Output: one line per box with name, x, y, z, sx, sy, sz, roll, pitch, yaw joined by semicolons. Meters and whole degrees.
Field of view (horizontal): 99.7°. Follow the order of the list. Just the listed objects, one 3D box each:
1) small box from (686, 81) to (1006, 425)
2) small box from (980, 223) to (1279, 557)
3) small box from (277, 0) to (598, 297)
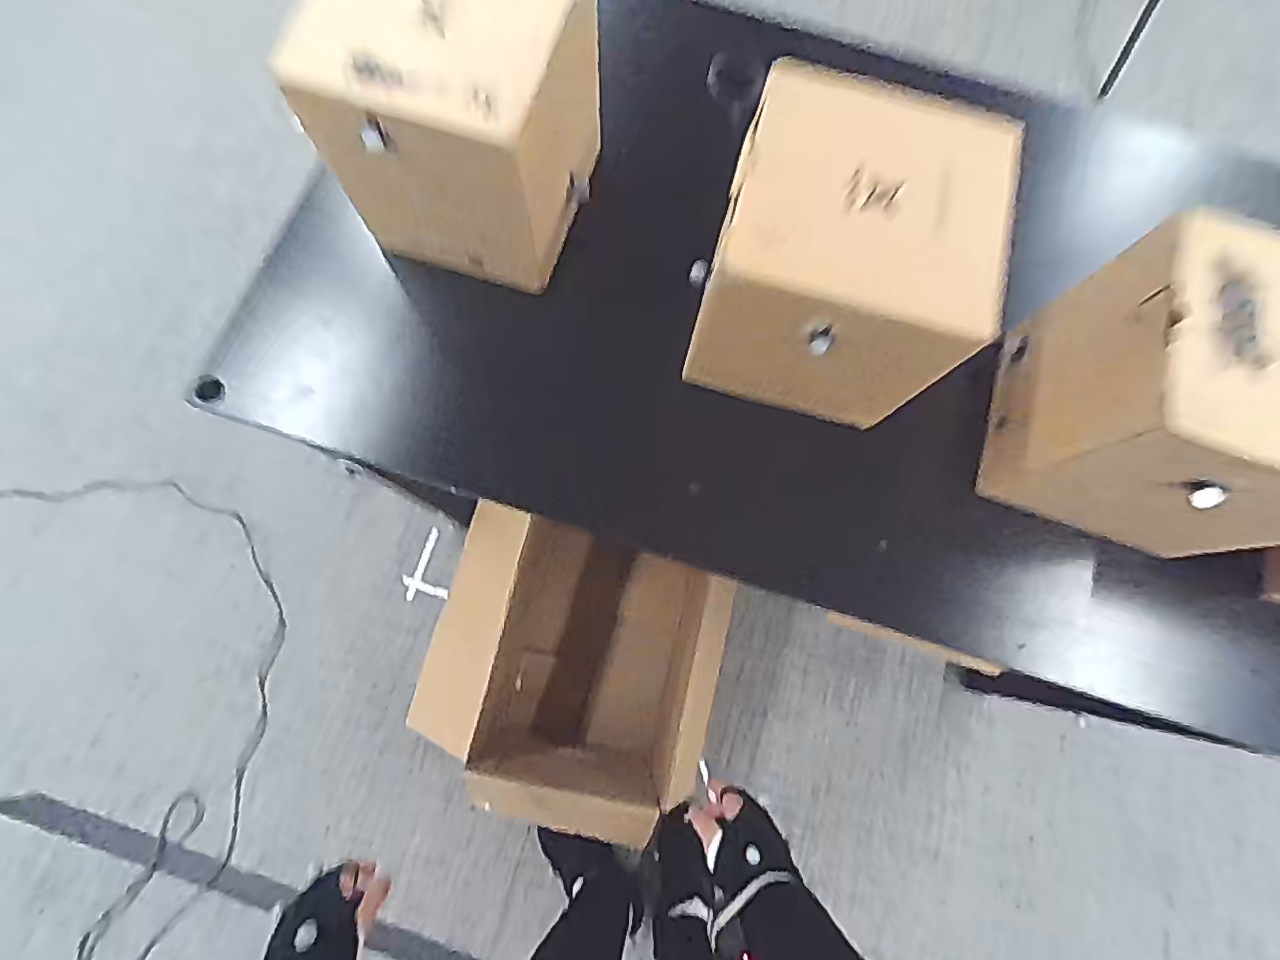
small box;0.143;-0.159;0.429;0.179;0.176;0.168;15;76;0
small box;0.401;-0.050;0.412;0.179;0.176;0.168;20;75;3
small box;-0.139;-0.288;0.445;0.168;0.176;0.179;17;75;1
